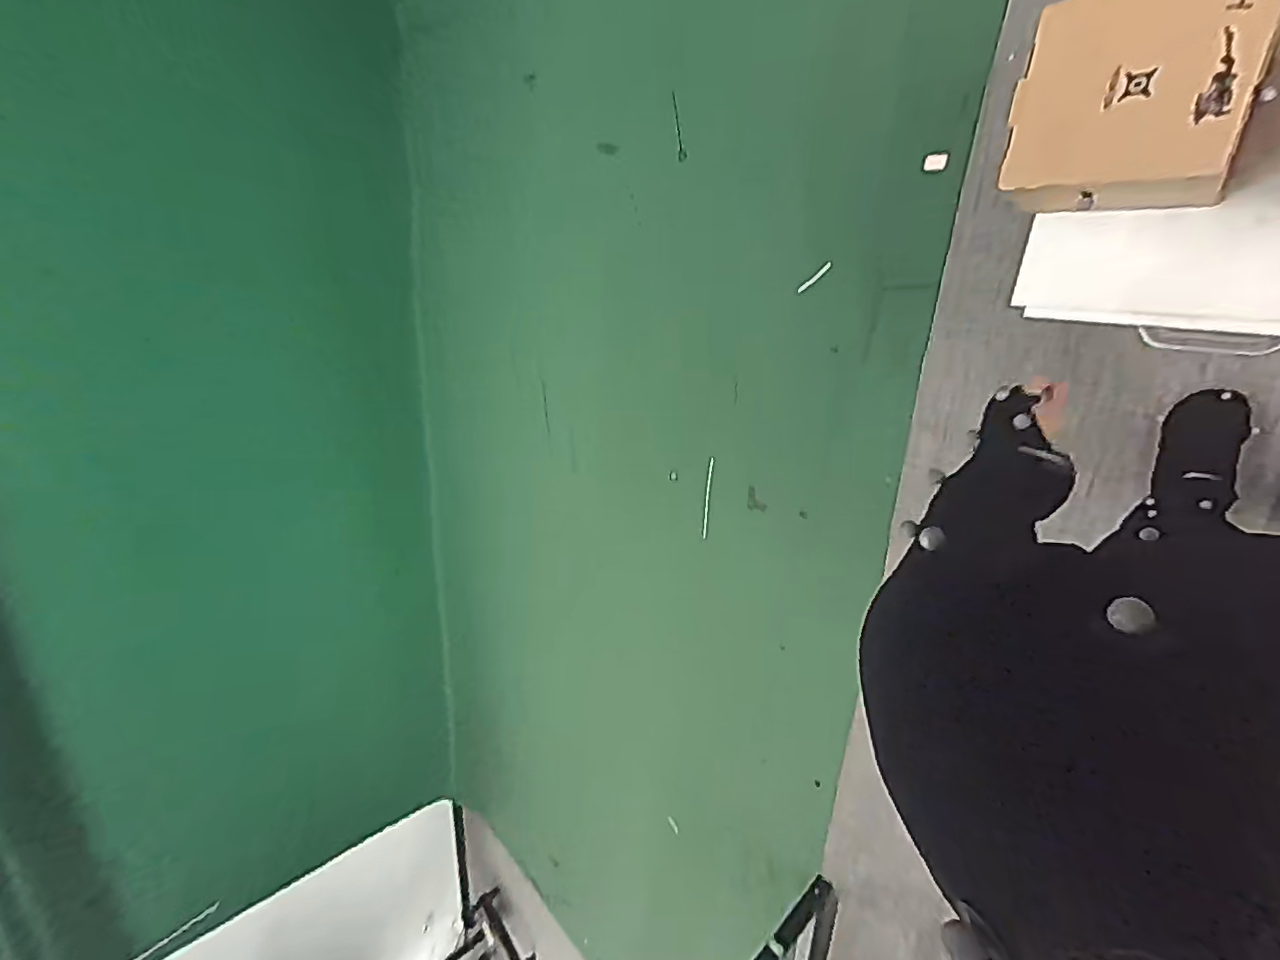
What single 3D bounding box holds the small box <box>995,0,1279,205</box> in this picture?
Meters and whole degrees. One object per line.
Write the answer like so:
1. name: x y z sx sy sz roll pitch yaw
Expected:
1. small box: 0.508 -0.390 0.558 0.179 0.176 0.168 22 117 42
